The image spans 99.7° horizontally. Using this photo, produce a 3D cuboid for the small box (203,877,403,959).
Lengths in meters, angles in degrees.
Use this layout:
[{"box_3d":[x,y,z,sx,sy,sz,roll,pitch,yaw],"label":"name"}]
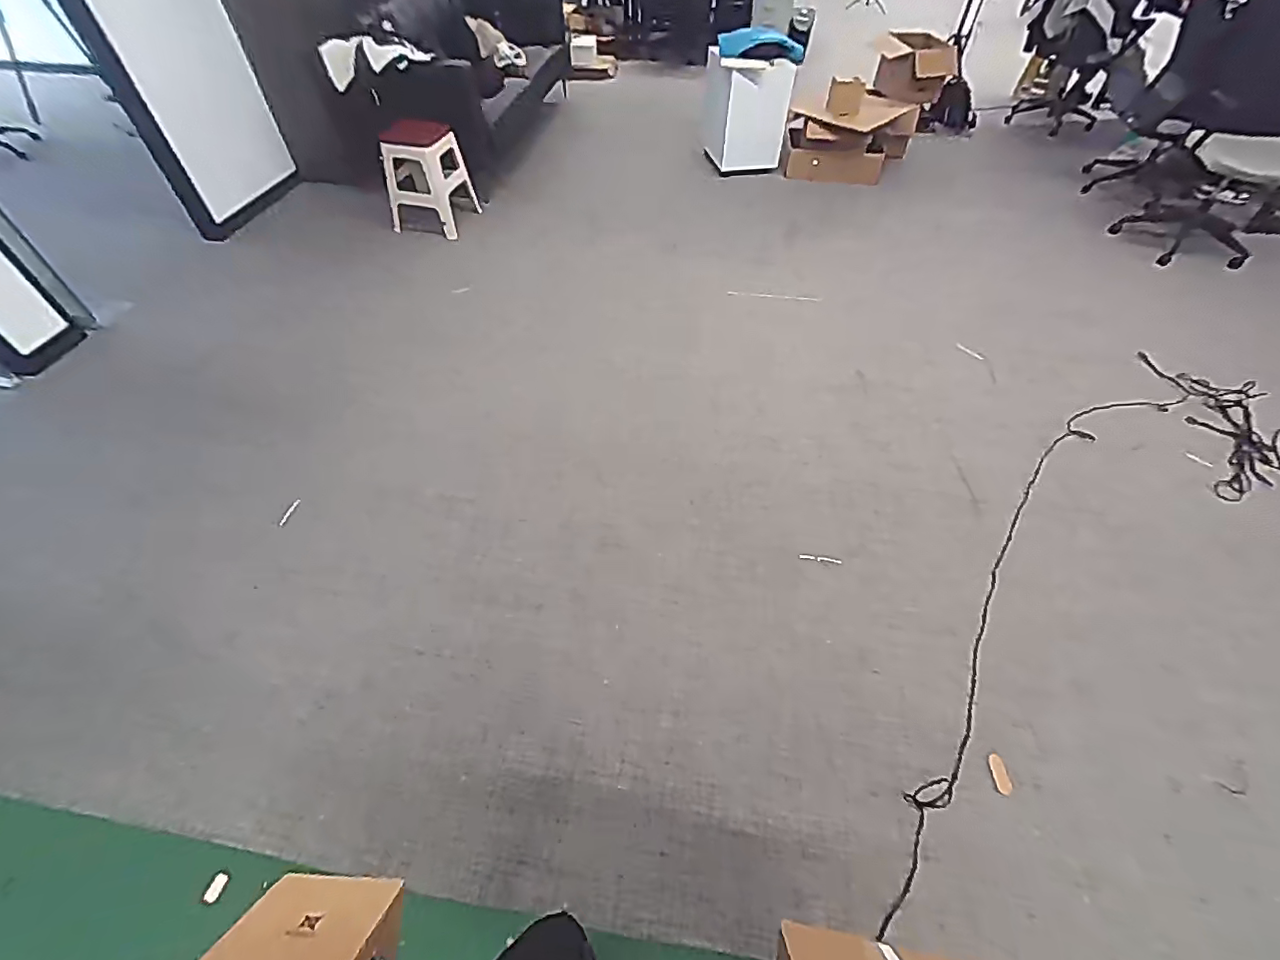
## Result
[{"box_3d":[-0.407,0.622,0.645,0.168,0.179,0.176,3,87,0],"label":"small box"}]
